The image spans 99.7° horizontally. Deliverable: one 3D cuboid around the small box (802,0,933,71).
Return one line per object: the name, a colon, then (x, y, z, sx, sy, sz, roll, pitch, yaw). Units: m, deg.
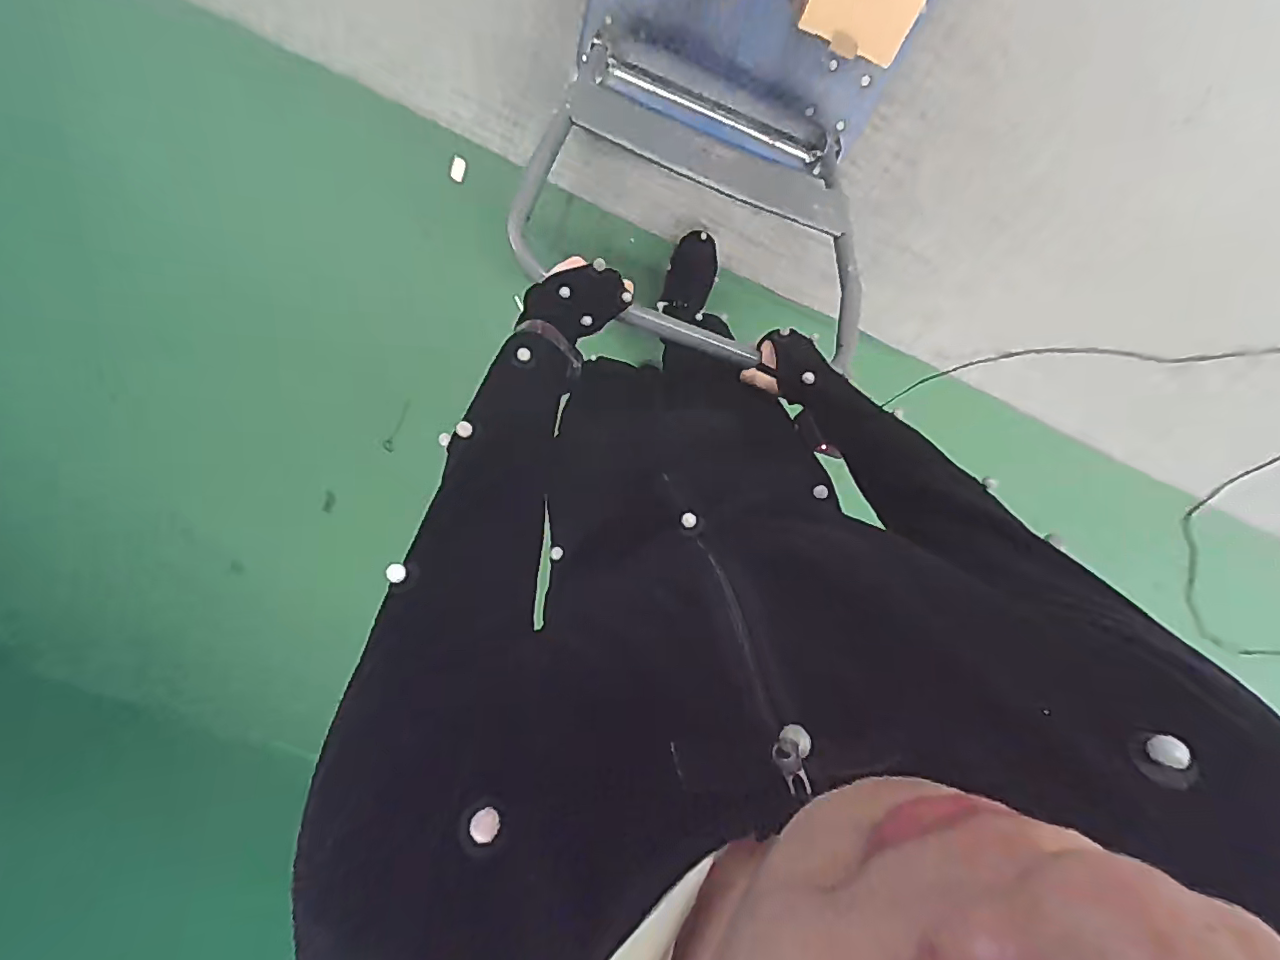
small box: (0.367, -0.795, 0.845, 0.168, 0.176, 0.179, 18, 140, -9)
